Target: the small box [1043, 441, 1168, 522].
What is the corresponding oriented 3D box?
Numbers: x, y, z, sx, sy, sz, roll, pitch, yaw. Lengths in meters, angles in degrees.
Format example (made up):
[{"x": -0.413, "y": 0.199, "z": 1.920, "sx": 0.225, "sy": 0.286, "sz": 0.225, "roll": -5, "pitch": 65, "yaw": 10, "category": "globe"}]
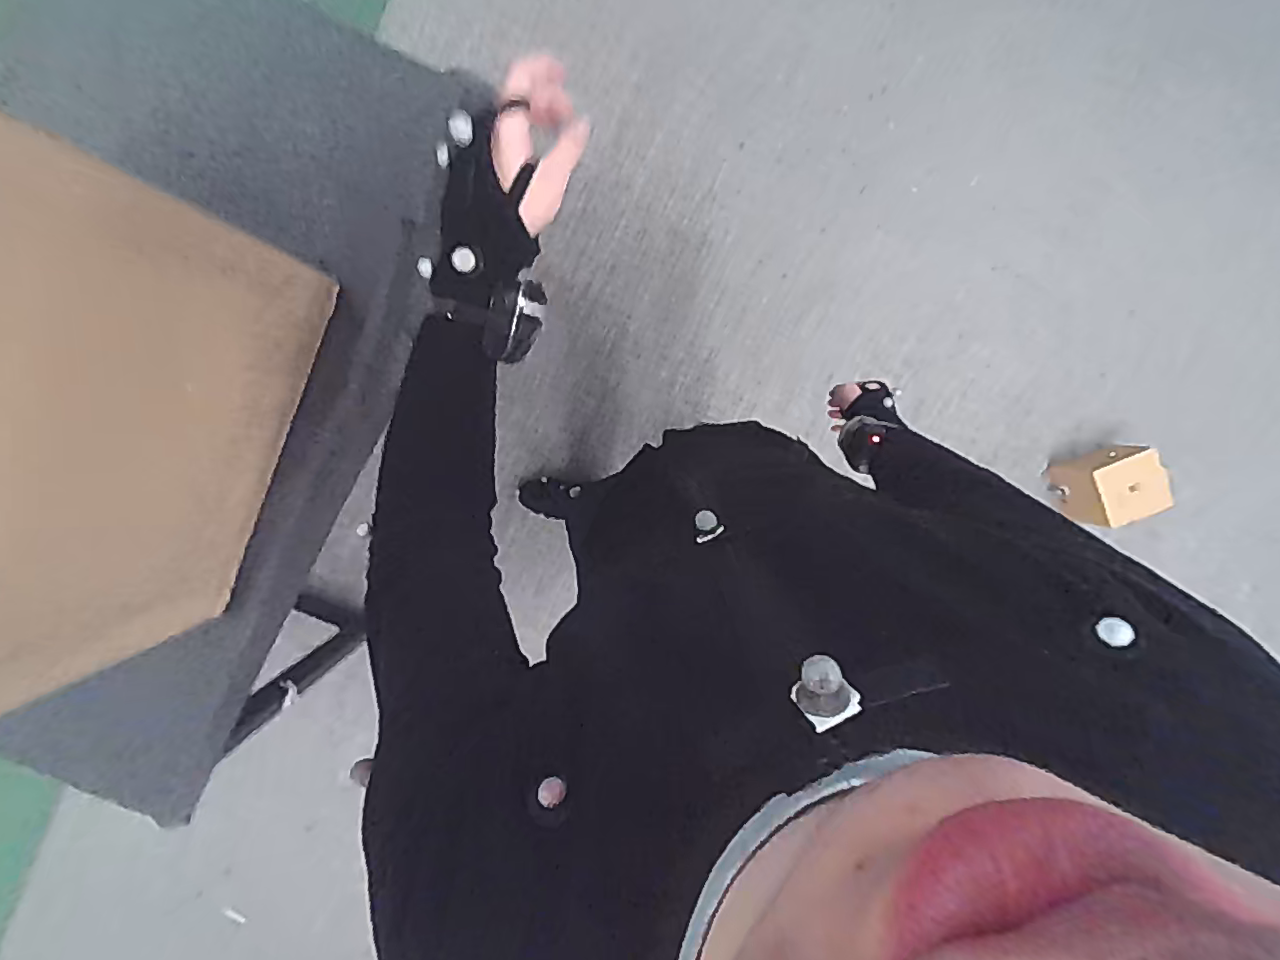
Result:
[{"x": 1.275, "y": -0.003, "z": 1.491, "sx": 0.179, "sy": 0.176, "sz": 0.168, "roll": -23, "pitch": 94, "yaw": 3, "category": "small box"}]
